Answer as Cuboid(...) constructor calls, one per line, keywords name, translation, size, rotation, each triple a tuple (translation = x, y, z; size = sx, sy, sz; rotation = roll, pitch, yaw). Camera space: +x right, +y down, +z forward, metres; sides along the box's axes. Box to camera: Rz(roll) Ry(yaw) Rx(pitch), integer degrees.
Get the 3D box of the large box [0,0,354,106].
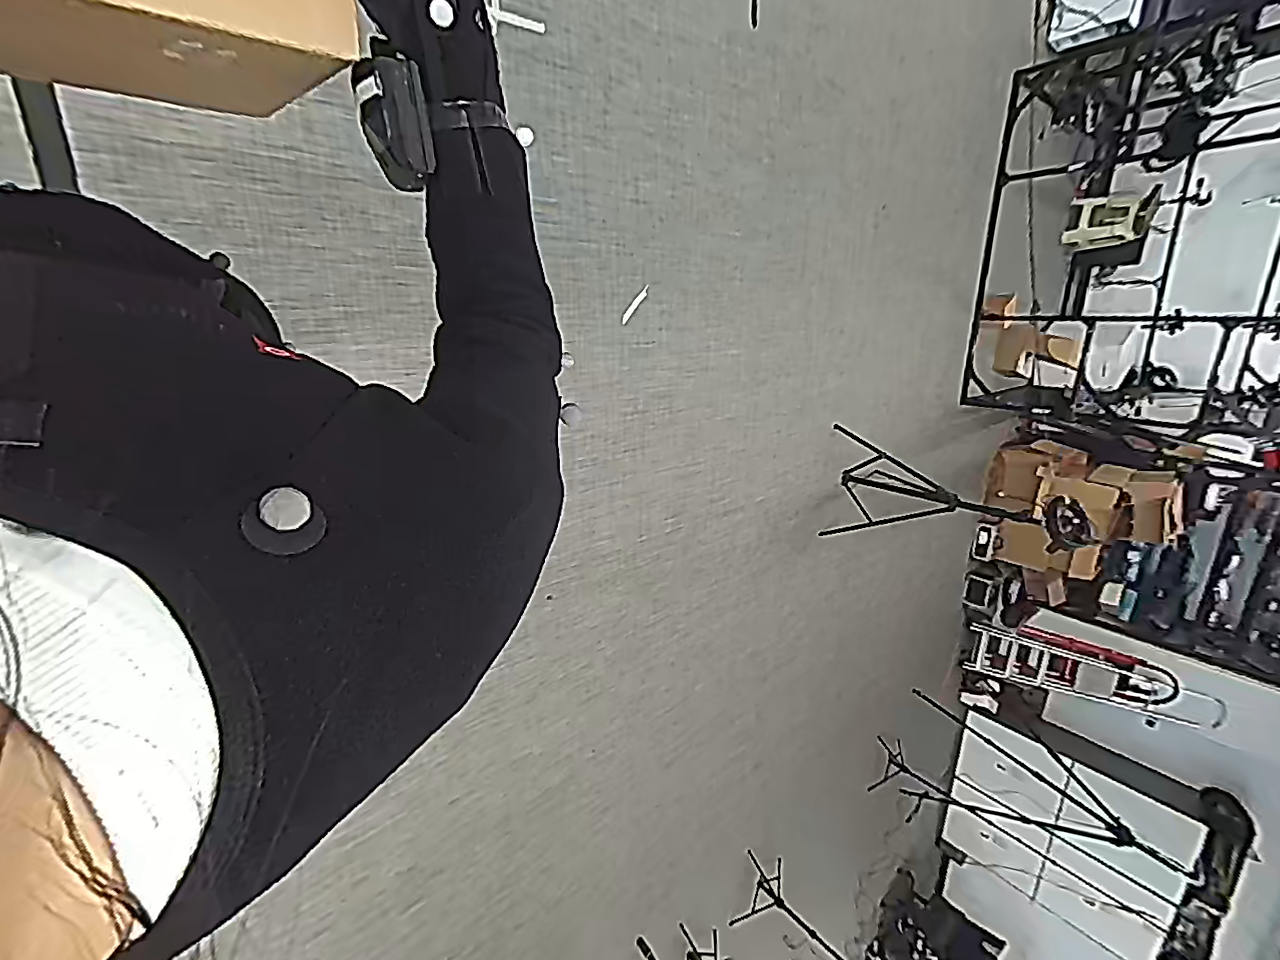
Cuboid(name="large box", translation=(-0.407, -0.396, 0.236), size=(0.408, 0.320, 0.320), rotation=(-17, 122, -38))
